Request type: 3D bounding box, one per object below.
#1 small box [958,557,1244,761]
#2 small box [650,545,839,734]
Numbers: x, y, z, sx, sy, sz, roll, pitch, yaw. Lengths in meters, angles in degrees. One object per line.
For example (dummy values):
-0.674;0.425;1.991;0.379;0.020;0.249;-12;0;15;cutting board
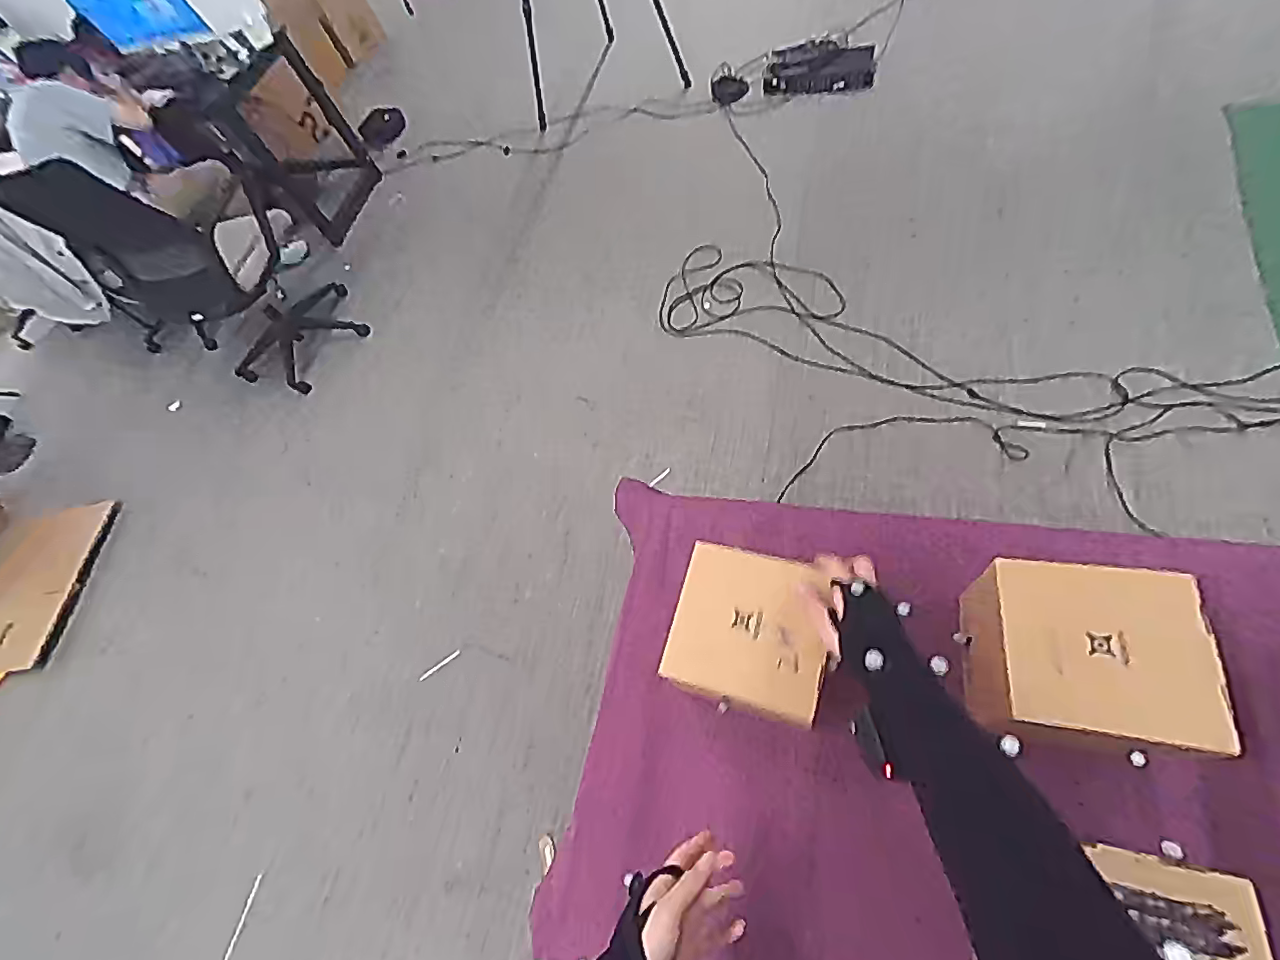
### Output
0.467;0.196;0.585;0.179;0.176;0.168;3;63;18;small box
0.135;0.203;0.673;0.179;0.176;0.168;13;68;22;small box
